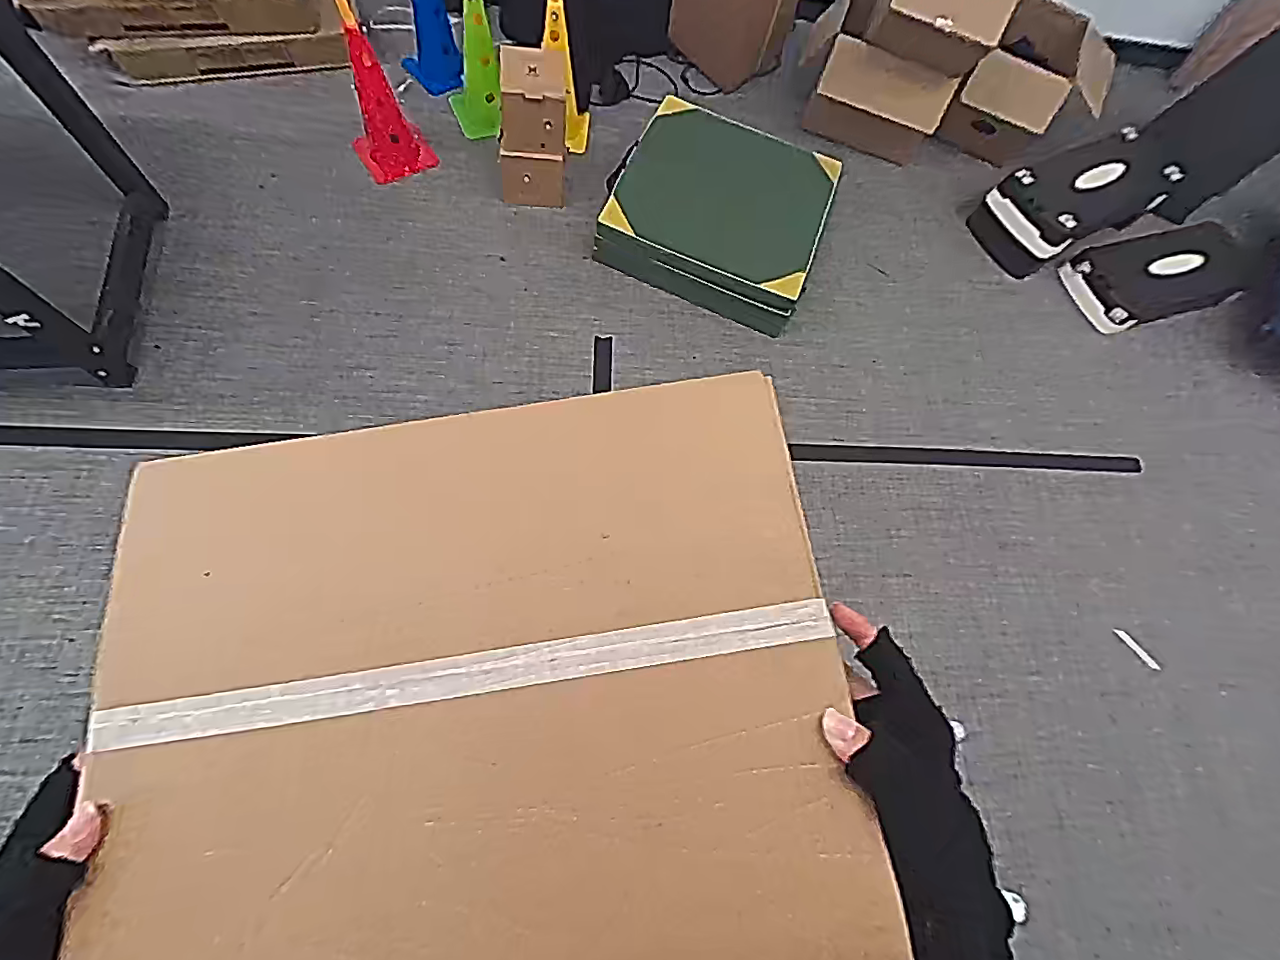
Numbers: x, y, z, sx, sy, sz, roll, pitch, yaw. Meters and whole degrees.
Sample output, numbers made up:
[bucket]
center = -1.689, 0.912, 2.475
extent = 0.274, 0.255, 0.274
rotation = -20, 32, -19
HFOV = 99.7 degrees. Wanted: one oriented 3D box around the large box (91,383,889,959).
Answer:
[large box]
center = -0.086, 0.154, 0.447
extent = 0.408, 0.320, 0.320
rotation = -8, 71, 0
